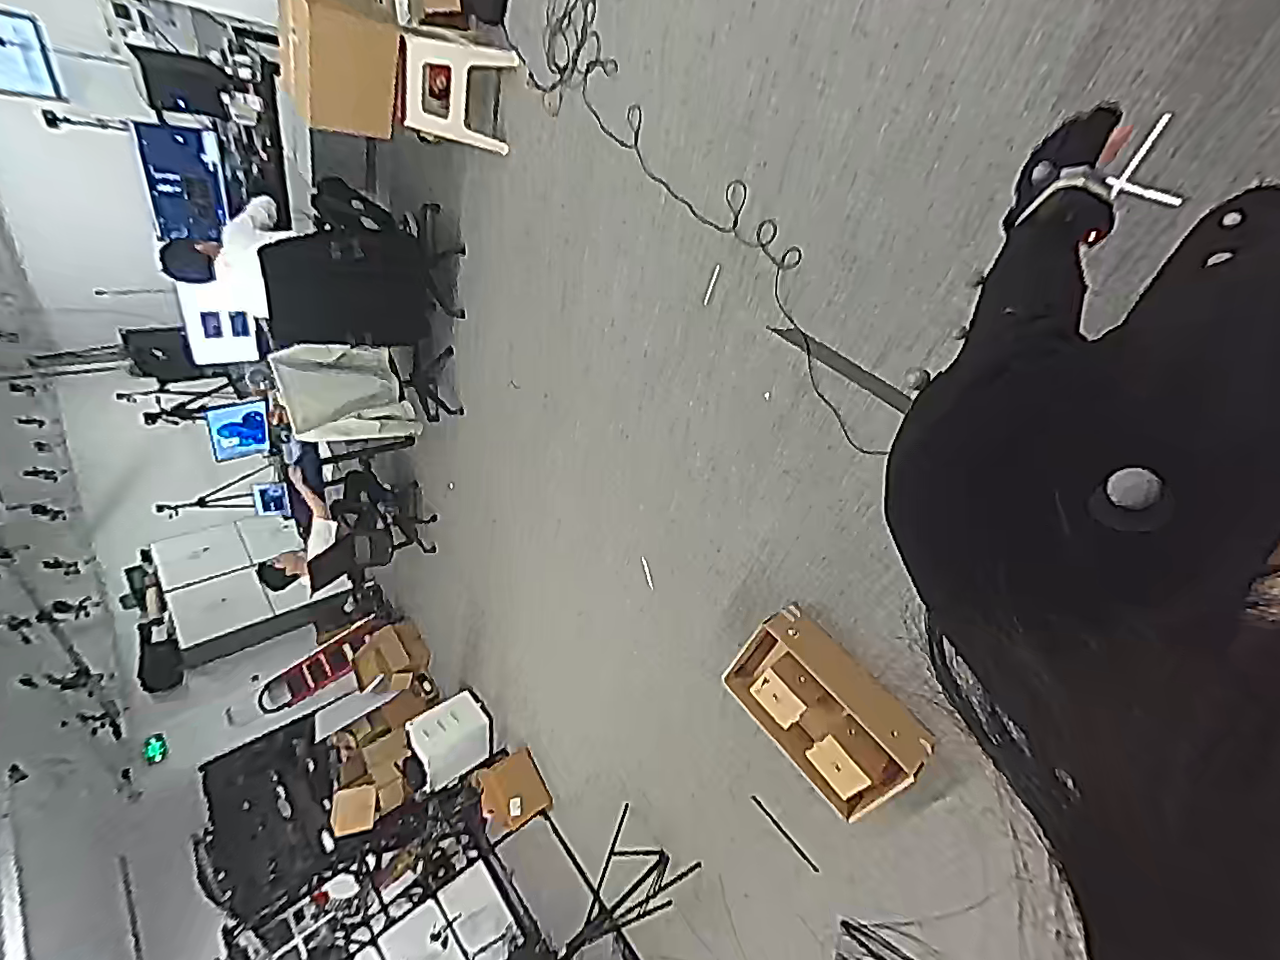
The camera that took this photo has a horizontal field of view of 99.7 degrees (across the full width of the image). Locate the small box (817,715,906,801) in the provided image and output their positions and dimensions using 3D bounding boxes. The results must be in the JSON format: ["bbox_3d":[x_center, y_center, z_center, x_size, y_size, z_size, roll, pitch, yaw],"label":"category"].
[{"bbox_3d":[0.727,0.904,1.776,0.179,0.176,0.168,47,136,26],"label":"small box"}]

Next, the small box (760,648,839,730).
[{"bbox_3d":[0.562,0.728,1.896,0.179,0.176,0.168,44,133,25],"label":"small box"}]
